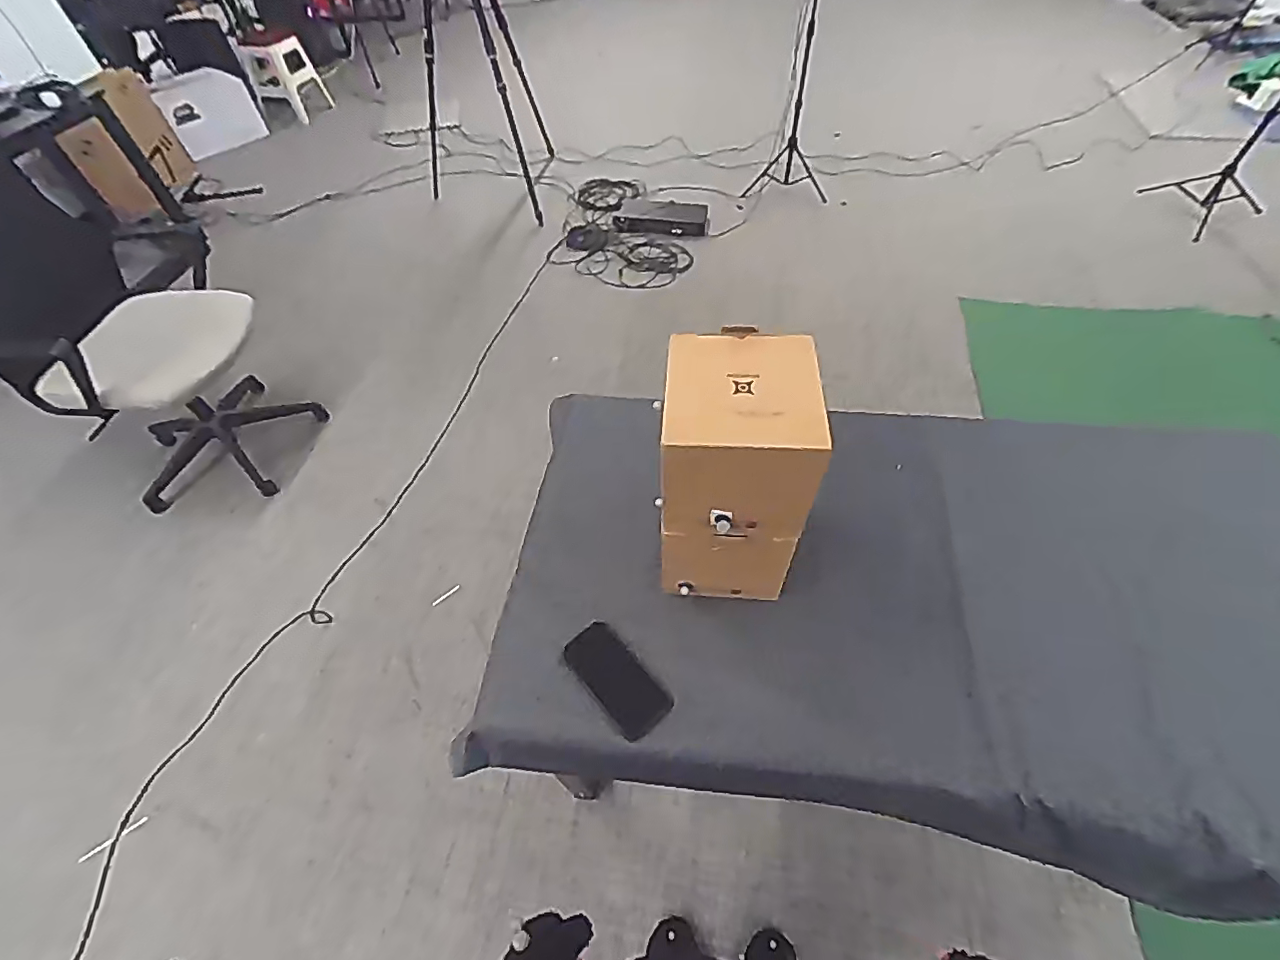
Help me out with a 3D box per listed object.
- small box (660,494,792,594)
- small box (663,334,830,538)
[{"bbox_3d":[0.117,0.048,0.770,0.168,0.176,0.179,3,52,5],"label":"small box"},{"bbox_3d":[0.113,-0.051,0.642,0.168,0.176,0.179,1,54,5],"label":"small box"}]
